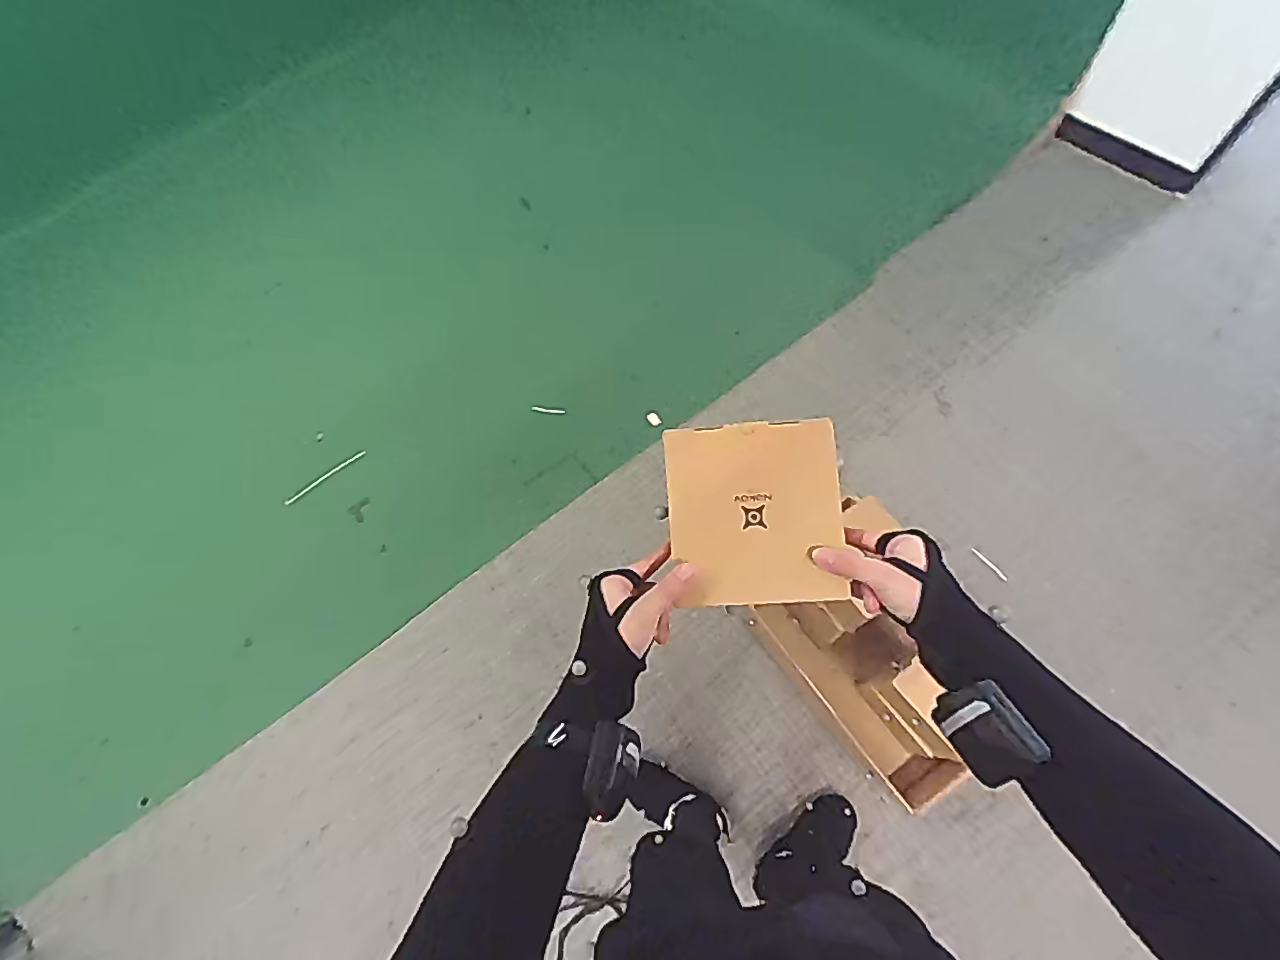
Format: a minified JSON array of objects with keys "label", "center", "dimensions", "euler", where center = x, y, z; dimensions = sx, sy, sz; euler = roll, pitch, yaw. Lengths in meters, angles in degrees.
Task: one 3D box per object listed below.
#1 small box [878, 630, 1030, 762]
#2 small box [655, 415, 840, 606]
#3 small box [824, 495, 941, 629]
[{"label":"small box","center":[0.611,0.431,1.081],"dimensions":[0.168,0.176,0.179],"euler":[-37,66,-5]},{"label":"small box","center":[0.108,0.040,0.590],"dimensions":[0.168,0.176,0.179],"euler":[-4,80,5]},{"label":"small box","center":[0.427,0.165,1.045],"dimensions":[0.168,0.176,0.179],"euler":[-33,66,-6]}]
